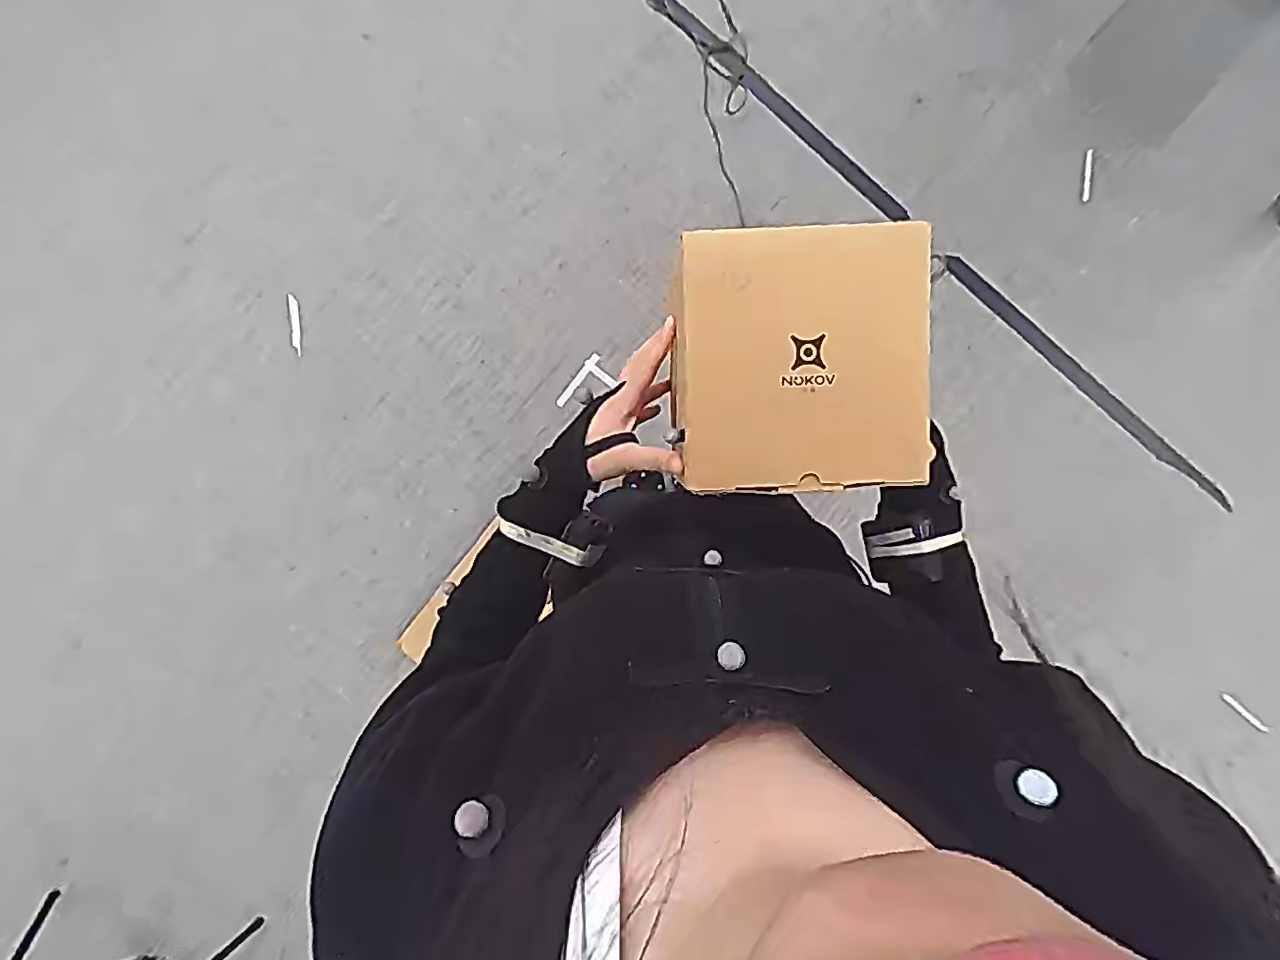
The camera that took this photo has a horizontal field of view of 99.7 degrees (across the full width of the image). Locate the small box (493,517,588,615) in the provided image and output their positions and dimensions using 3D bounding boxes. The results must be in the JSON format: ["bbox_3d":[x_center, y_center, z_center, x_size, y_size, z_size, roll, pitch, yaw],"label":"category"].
[{"bbox_3d":[-0.248,0.216,1.406,0.168,0.176,0.179,39,90,-2],"label":"small box"}]

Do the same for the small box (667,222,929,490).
[{"bbox_3d":[0.111,-0.087,0.442,0.168,0.176,0.179,-3,95,0],"label":"small box"}]
